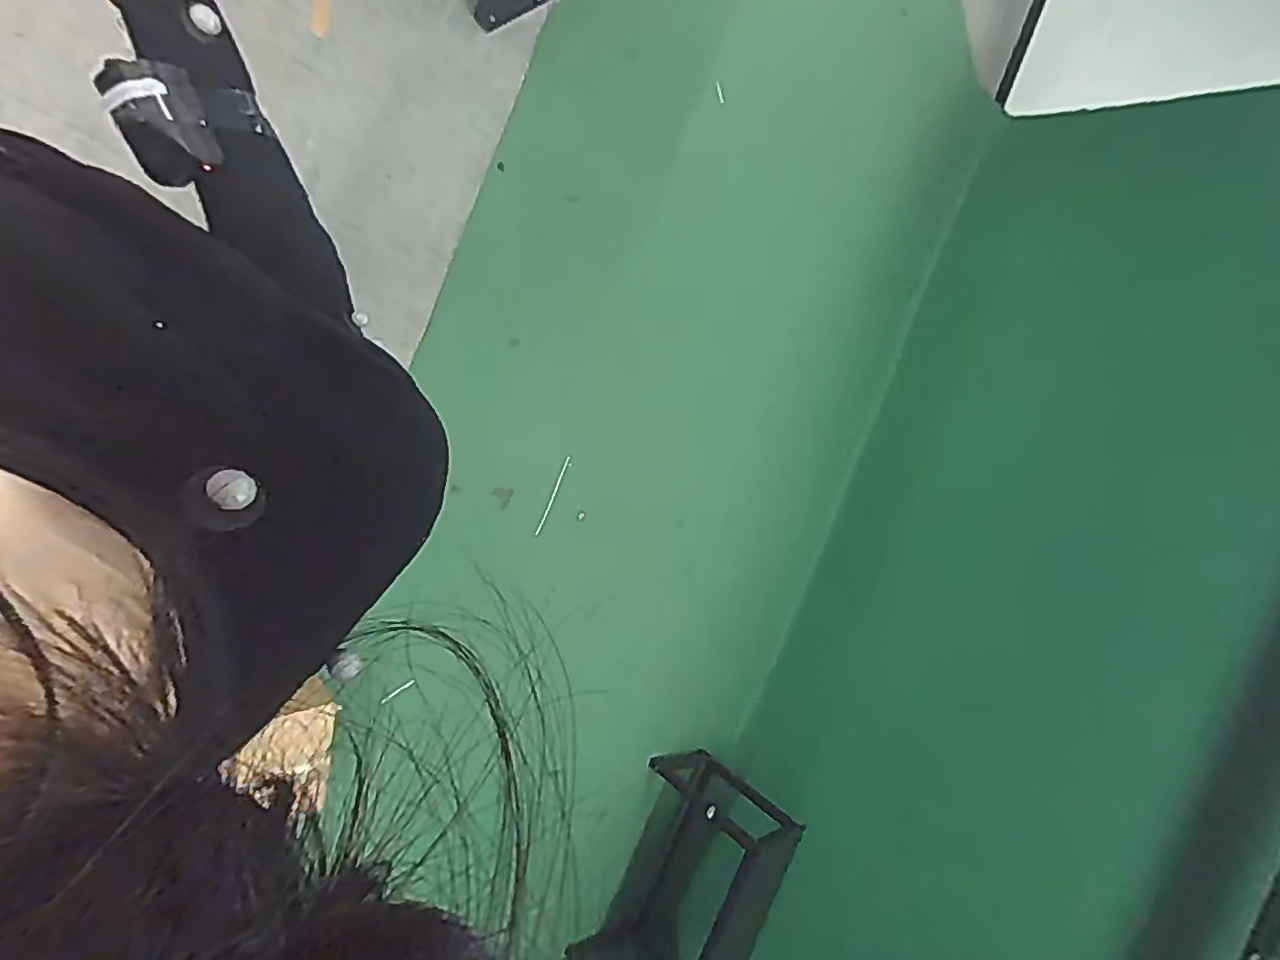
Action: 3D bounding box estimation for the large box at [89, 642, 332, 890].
[{"bbox_3d":[-1.017,0.631,1.286,0.408,0.320,0.320,0,107,-48],"label":"large box"}]
